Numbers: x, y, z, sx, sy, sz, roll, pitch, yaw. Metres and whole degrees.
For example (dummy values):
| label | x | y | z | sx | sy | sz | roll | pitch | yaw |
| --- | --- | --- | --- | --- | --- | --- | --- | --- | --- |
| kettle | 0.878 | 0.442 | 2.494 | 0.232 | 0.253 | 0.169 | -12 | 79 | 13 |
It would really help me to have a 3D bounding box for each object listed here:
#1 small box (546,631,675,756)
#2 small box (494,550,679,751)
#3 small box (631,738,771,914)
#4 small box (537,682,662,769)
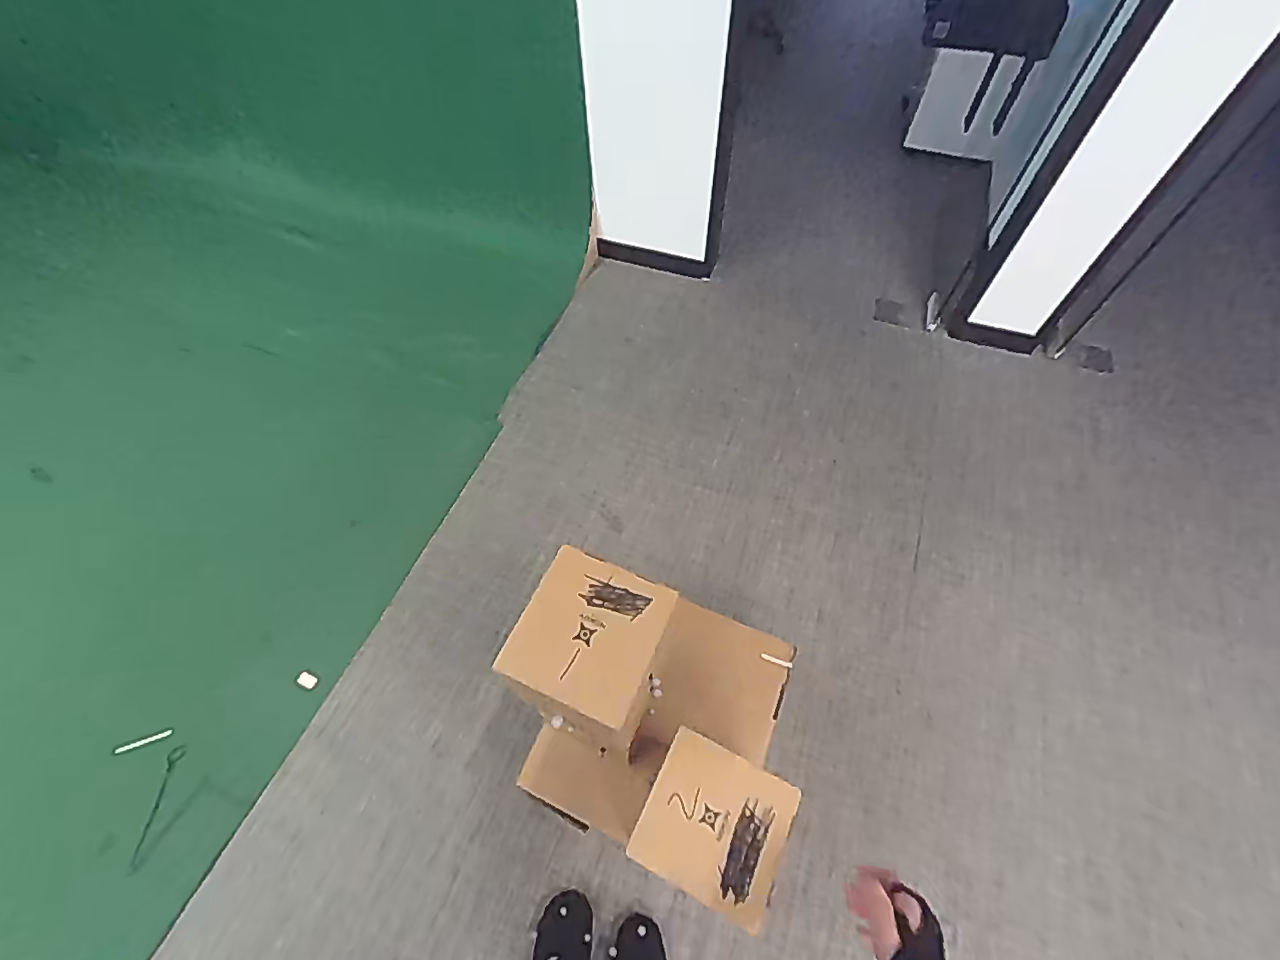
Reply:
| label | x | y | z | sx | sy | sz | roll | pitch | yaw |
| --- | --- | --- | --- | --- | --- | --- | --- | --- | --- |
| small box | -0.057 | 0.307 | 0.851 | 0.168 | 0.176 | 0.179 | 21 | 60 | 13 |
| small box | -0.062 | 0.226 | 0.708 | 0.168 | 0.176 | 0.179 | 21 | 59 | 14 |
| small box | 0.092 | 0.556 | 0.878 | 0.168 | 0.176 | 0.179 | 22 | 58 | 14 |
| small box | -0.062 | 0.399 | 0.986 | 0.168 | 0.176 | 0.179 | 21 | 58 | 14 |
